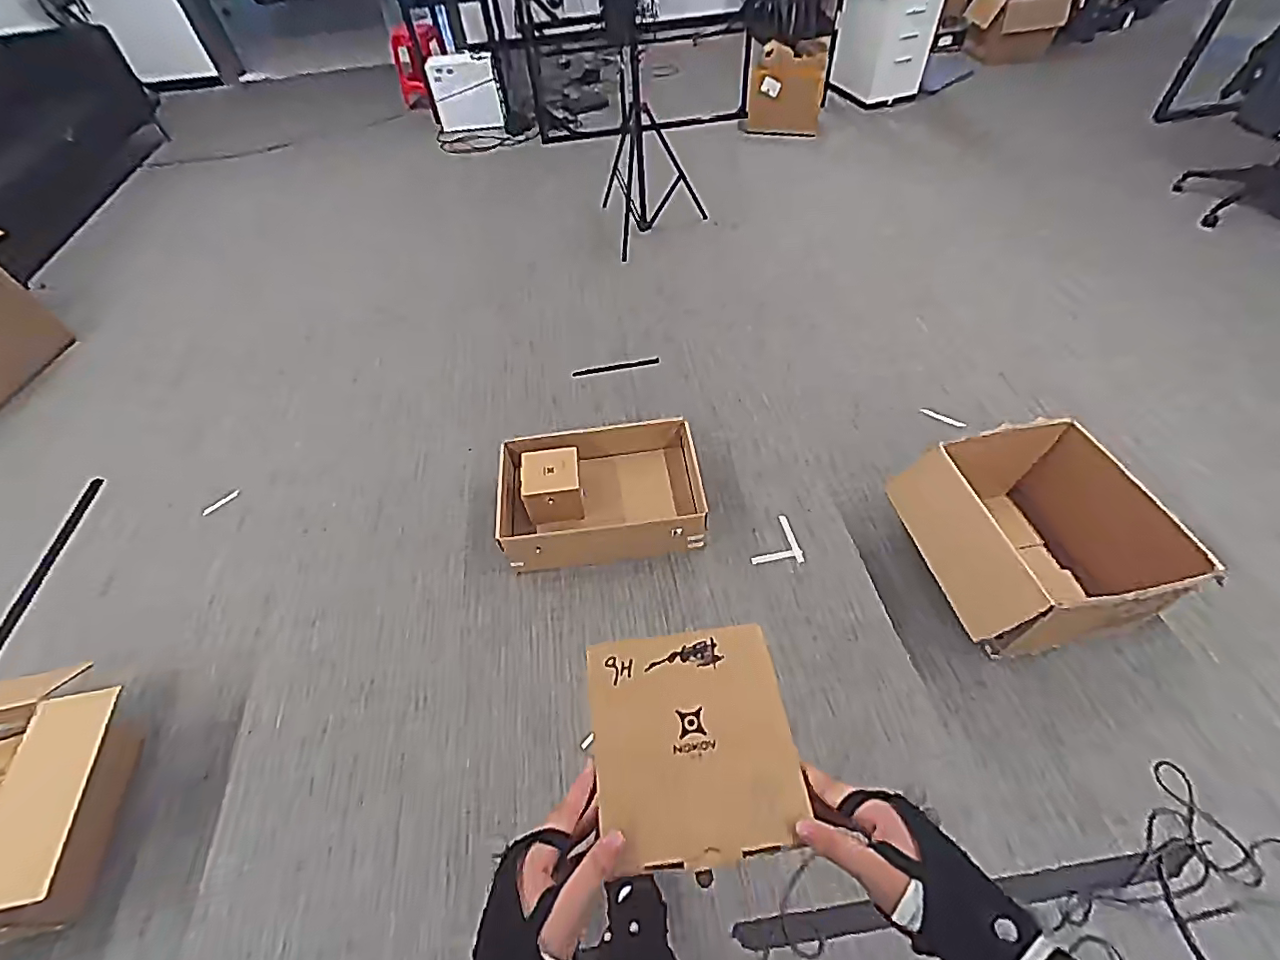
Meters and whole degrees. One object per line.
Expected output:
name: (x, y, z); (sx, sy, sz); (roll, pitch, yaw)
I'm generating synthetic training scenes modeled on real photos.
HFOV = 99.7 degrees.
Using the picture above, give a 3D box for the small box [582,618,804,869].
small box: (0.038, 0.253, 0.519); (0.168, 0.176, 0.179); (-6, 55, -4)

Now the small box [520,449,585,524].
small box: (-0.275, 0.026, 1.718); (0.179, 0.176, 0.168); (-7, 54, -3)
